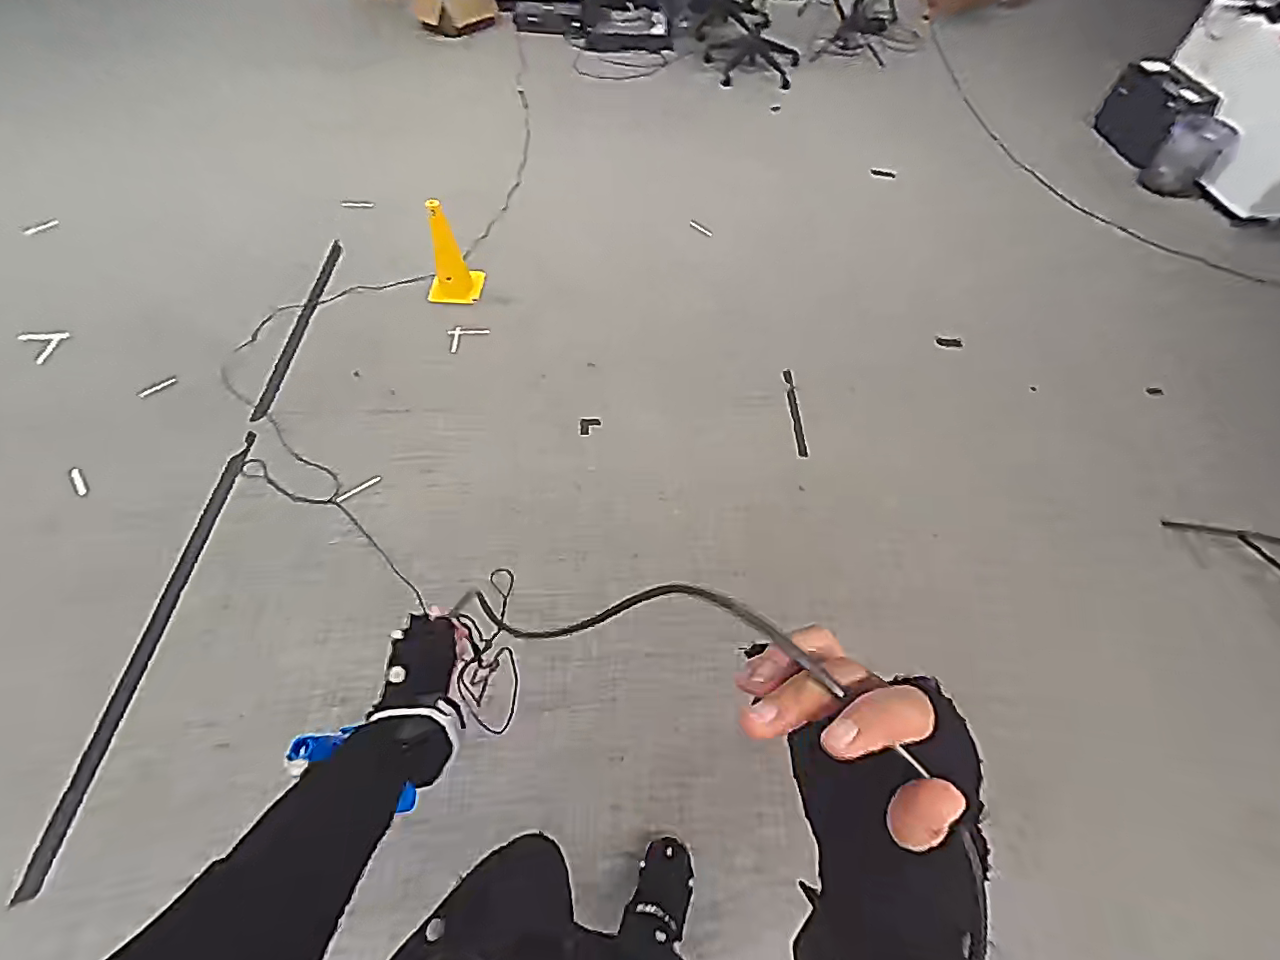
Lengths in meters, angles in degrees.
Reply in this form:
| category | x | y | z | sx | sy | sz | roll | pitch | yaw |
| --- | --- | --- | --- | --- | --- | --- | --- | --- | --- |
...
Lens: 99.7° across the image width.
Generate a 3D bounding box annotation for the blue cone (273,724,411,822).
| category | x | y | z | sx | sy | sz | roll | pitch | yaw |
| --- | --- | --- | --- | --- | --- | --- | --- | --- | --- |
| blue cone | -0.629 | 0.583 | 1.116 | 0.192 | 0.380 | 0.193 | -5 | 57 | -5 |
